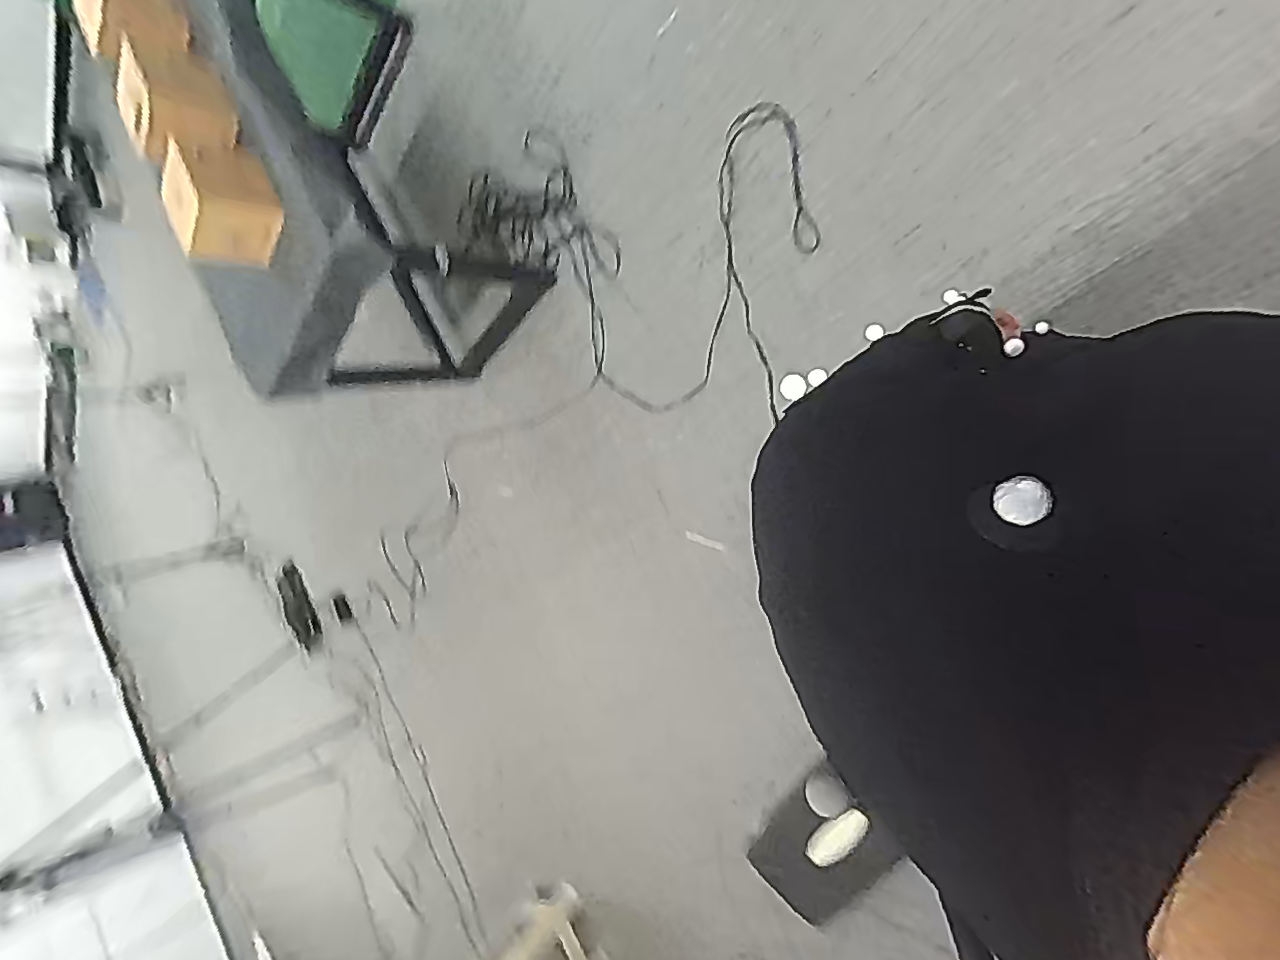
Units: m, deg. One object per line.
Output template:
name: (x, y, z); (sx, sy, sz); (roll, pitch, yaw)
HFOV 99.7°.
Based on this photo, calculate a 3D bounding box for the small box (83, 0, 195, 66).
small box: (-1.220, -1.167, 1.313); (0.179, 0.176, 0.168); (-27, 86, 36)

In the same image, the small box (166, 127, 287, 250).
small box: (-0.941, -0.651, 1.235); (0.168, 0.176, 0.179); (-35, 79, 37)
